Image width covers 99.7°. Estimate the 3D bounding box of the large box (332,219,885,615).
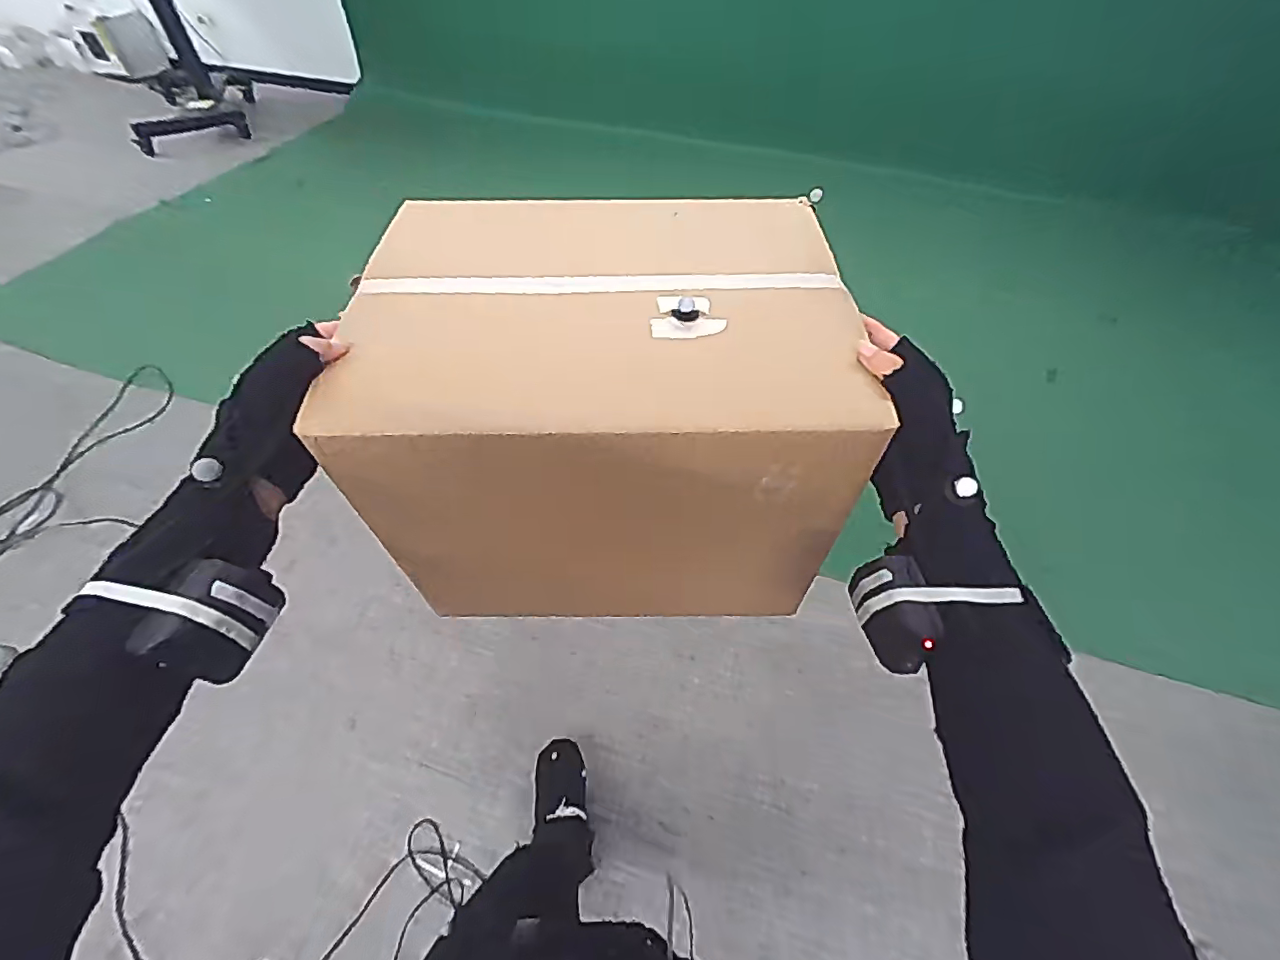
[{"bbox_3d":[-0.027,-0.060,0.589,0.408,0.320,0.320,0,53,-1],"label":"large box"}]
